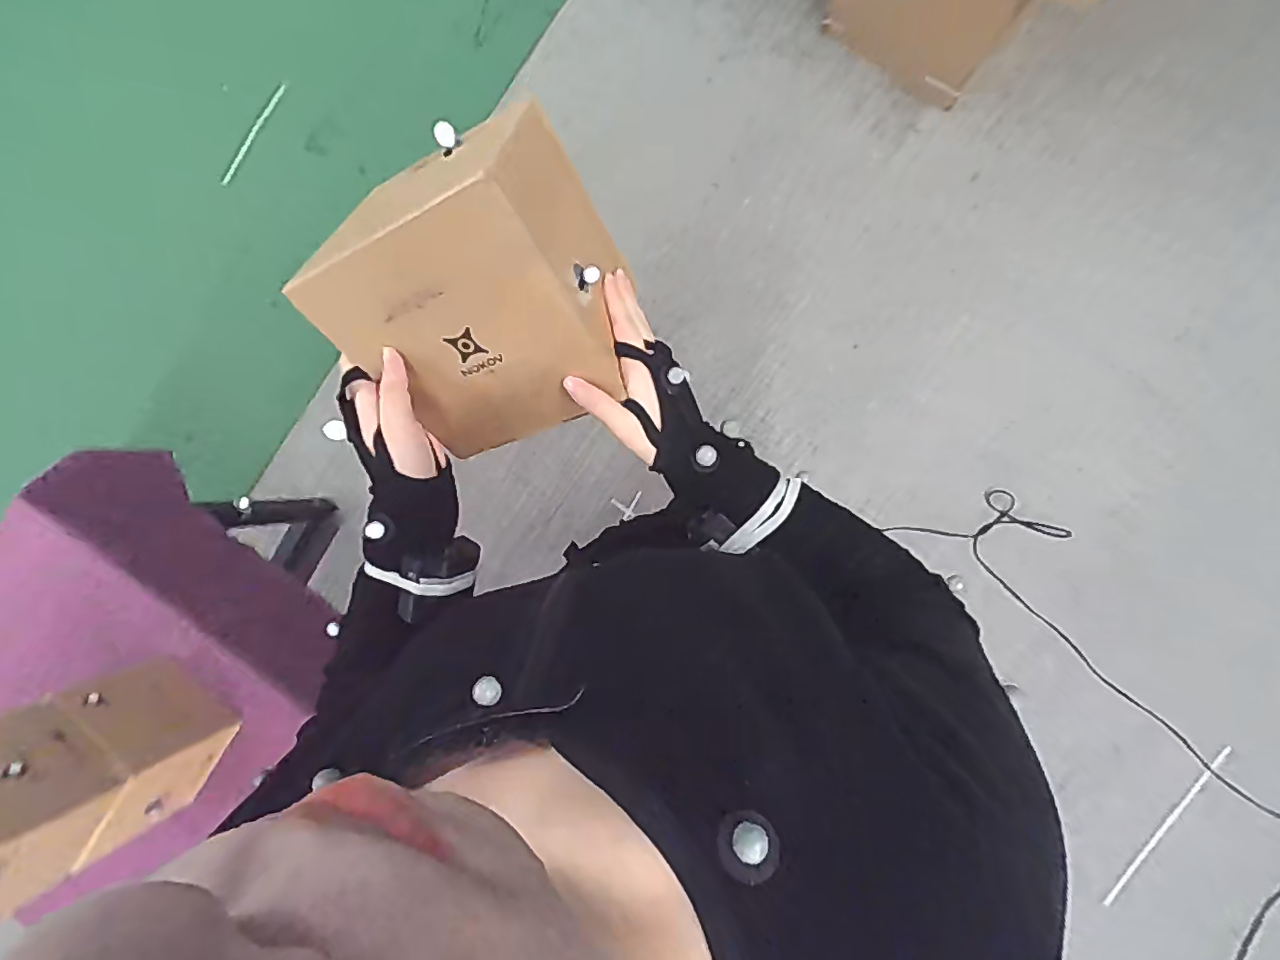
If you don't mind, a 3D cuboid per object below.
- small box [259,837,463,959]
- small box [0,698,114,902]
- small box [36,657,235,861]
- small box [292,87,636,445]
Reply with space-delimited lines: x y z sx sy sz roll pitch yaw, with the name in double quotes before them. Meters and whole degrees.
"small box" -0.383 0.636 0.737 0.179 0.176 0.168 35 95 8
"small box" -0.786 0.394 0.633 0.168 0.176 0.179 38 95 8
"small box" -0.758 0.390 0.795 0.179 0.176 0.168 36 95 8
"small box" -0.110 -0.161 0.426 0.168 0.179 0.176 -15 45 20
